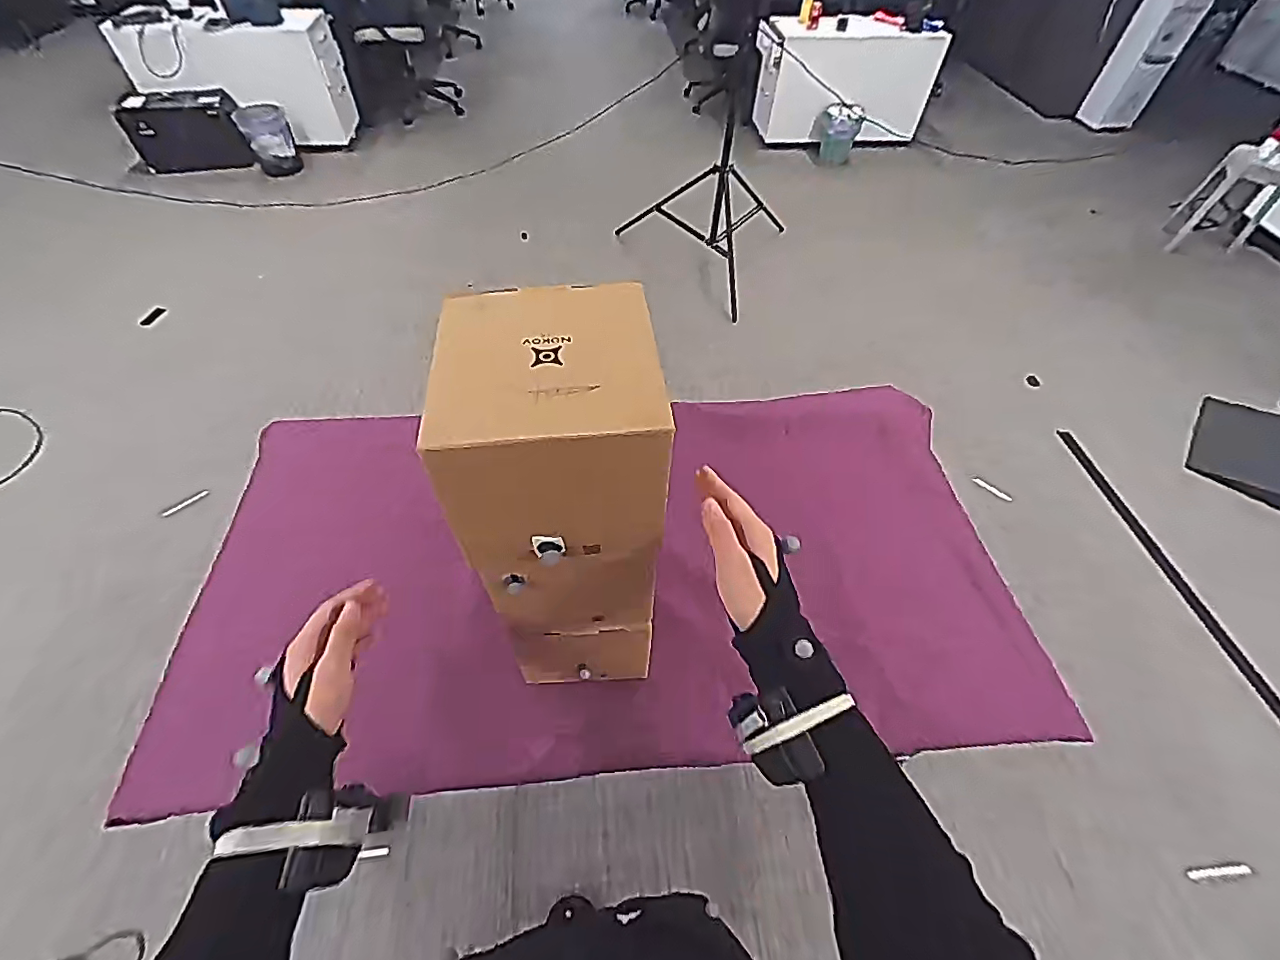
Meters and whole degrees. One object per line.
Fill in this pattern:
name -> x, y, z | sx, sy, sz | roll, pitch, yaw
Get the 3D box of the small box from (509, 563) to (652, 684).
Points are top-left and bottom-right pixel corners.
small box -> -0.074, 0.157, 0.728 | 0.168, 0.176, 0.179 | -2, 52, -3

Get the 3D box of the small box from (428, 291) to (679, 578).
small box -> -0.067, -0.038, 0.465 | 0.168, 0.176, 0.179 | -6, 52, -6
